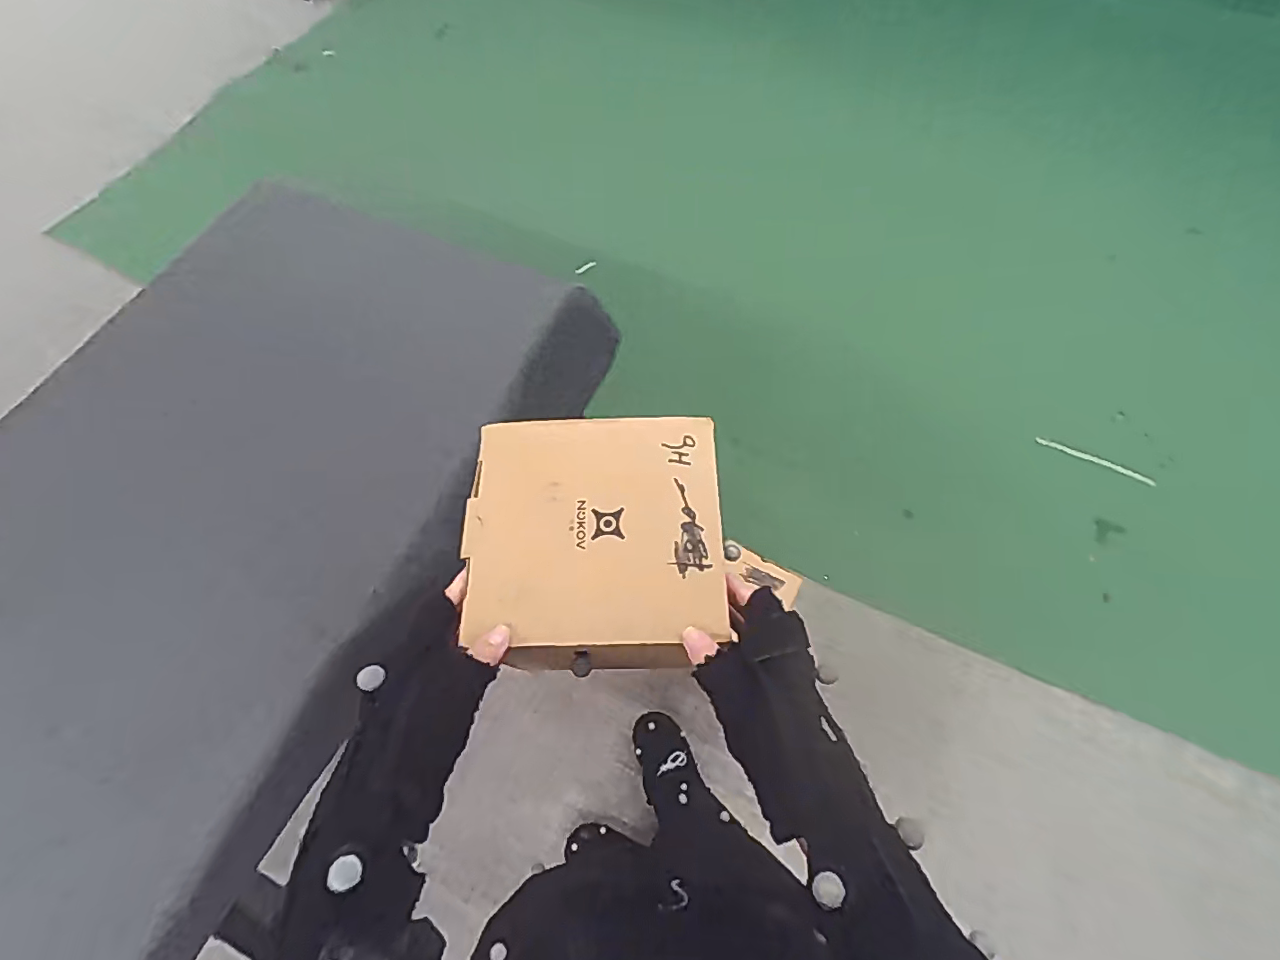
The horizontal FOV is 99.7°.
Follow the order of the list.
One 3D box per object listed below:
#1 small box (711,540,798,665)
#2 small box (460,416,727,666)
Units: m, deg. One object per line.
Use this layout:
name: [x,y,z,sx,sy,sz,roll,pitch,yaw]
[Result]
small box: [0.196,0.257,1.113,0.168,0.176,0.179,29,69,14]
small box: [-0.025,0.060,0.450,0.179,0.176,0.168,0,66,2]
